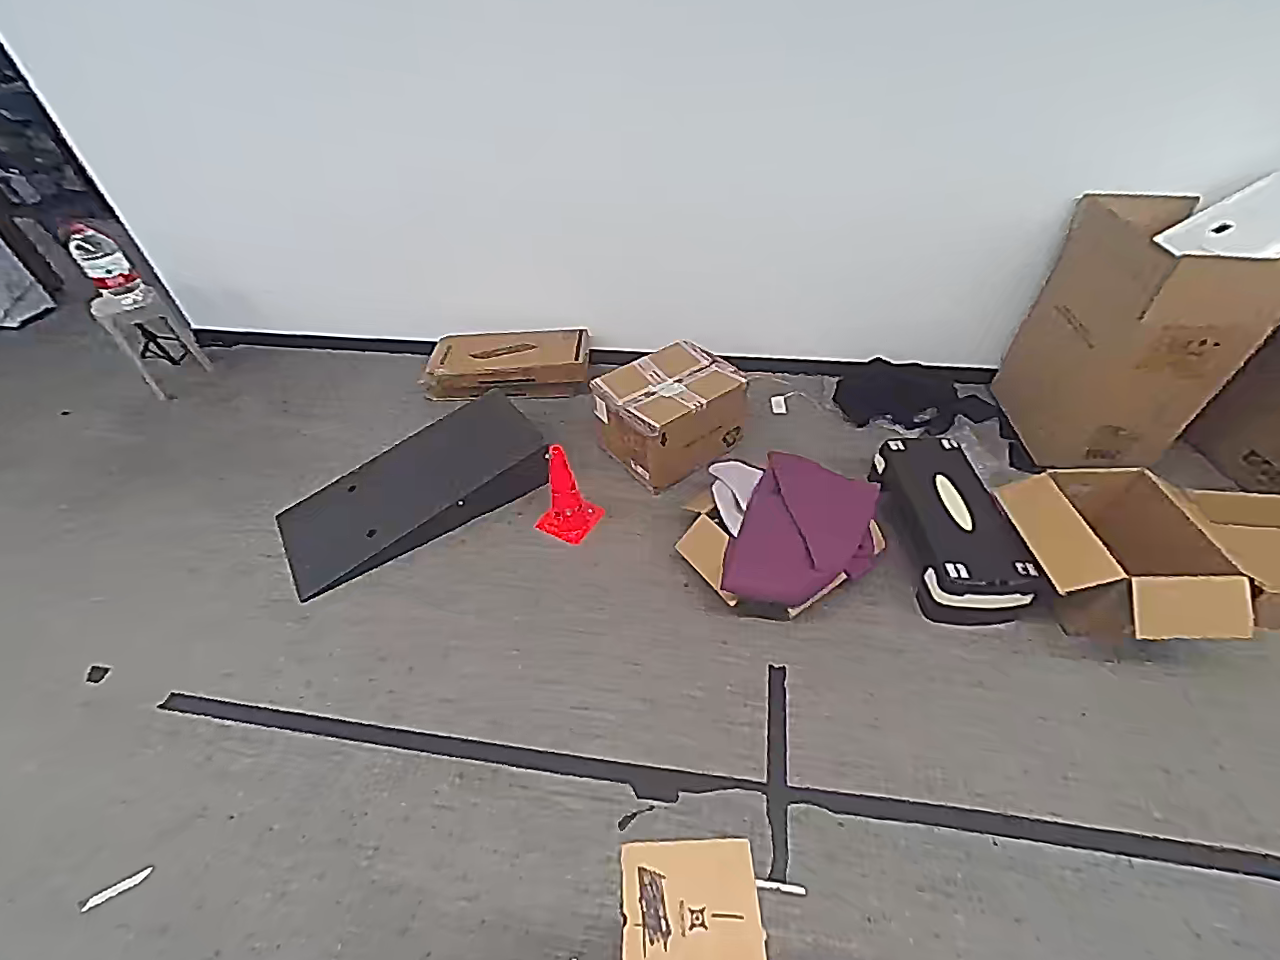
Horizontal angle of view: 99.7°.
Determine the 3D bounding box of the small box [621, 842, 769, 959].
[{"bbox_3d":[0.070,0.602,0.718,0.179,0.176,0.168,-3,43,1],"label":"small box"}]
